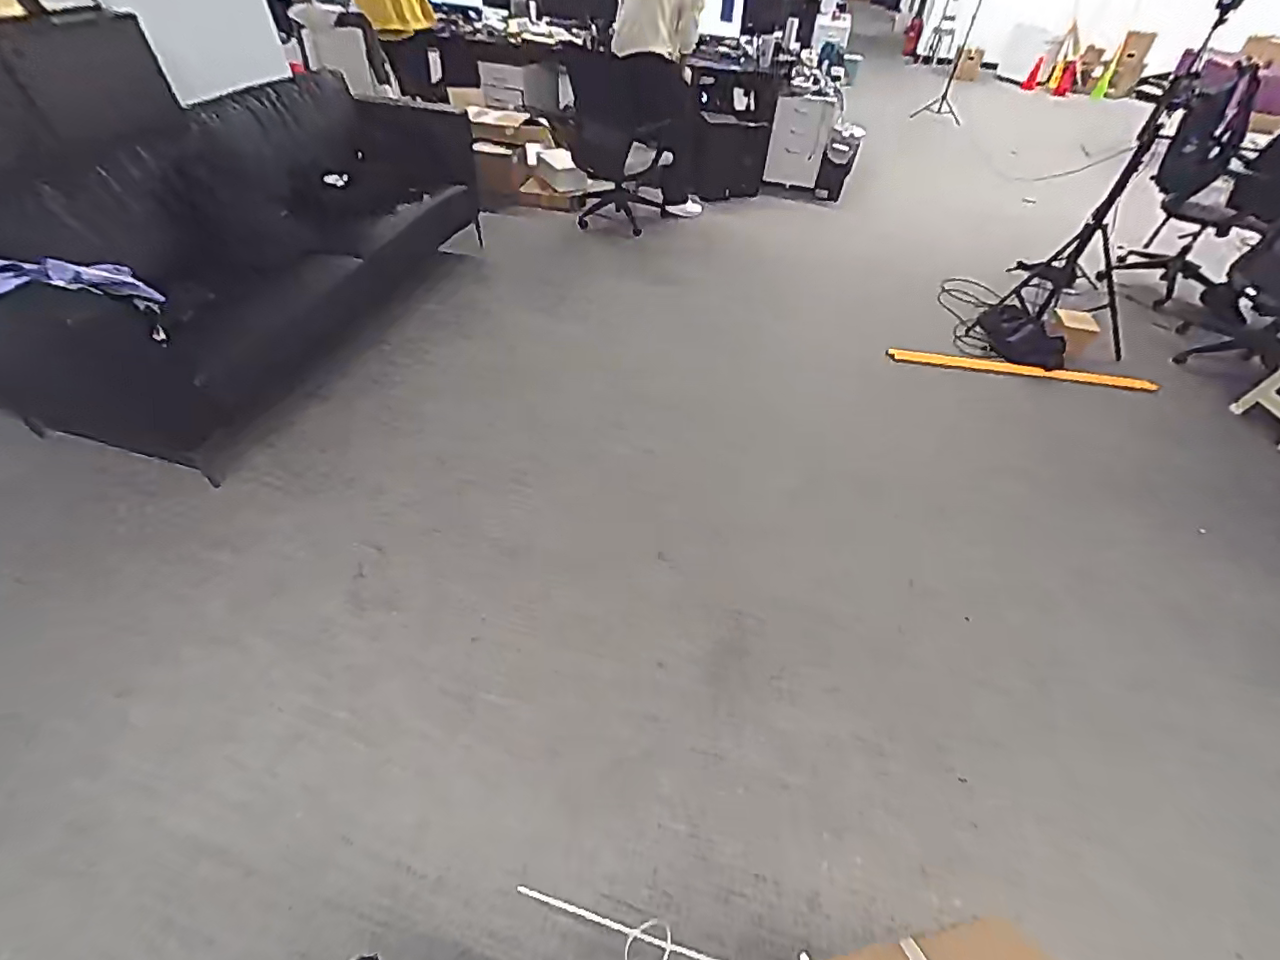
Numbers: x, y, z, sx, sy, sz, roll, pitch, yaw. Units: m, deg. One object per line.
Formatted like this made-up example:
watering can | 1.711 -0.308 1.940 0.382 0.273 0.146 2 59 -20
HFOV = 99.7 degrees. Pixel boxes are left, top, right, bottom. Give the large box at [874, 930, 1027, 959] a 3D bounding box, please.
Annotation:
large box | 0.419 0.822 0.574 0.320 0.408 0.320 -11 88 -3
